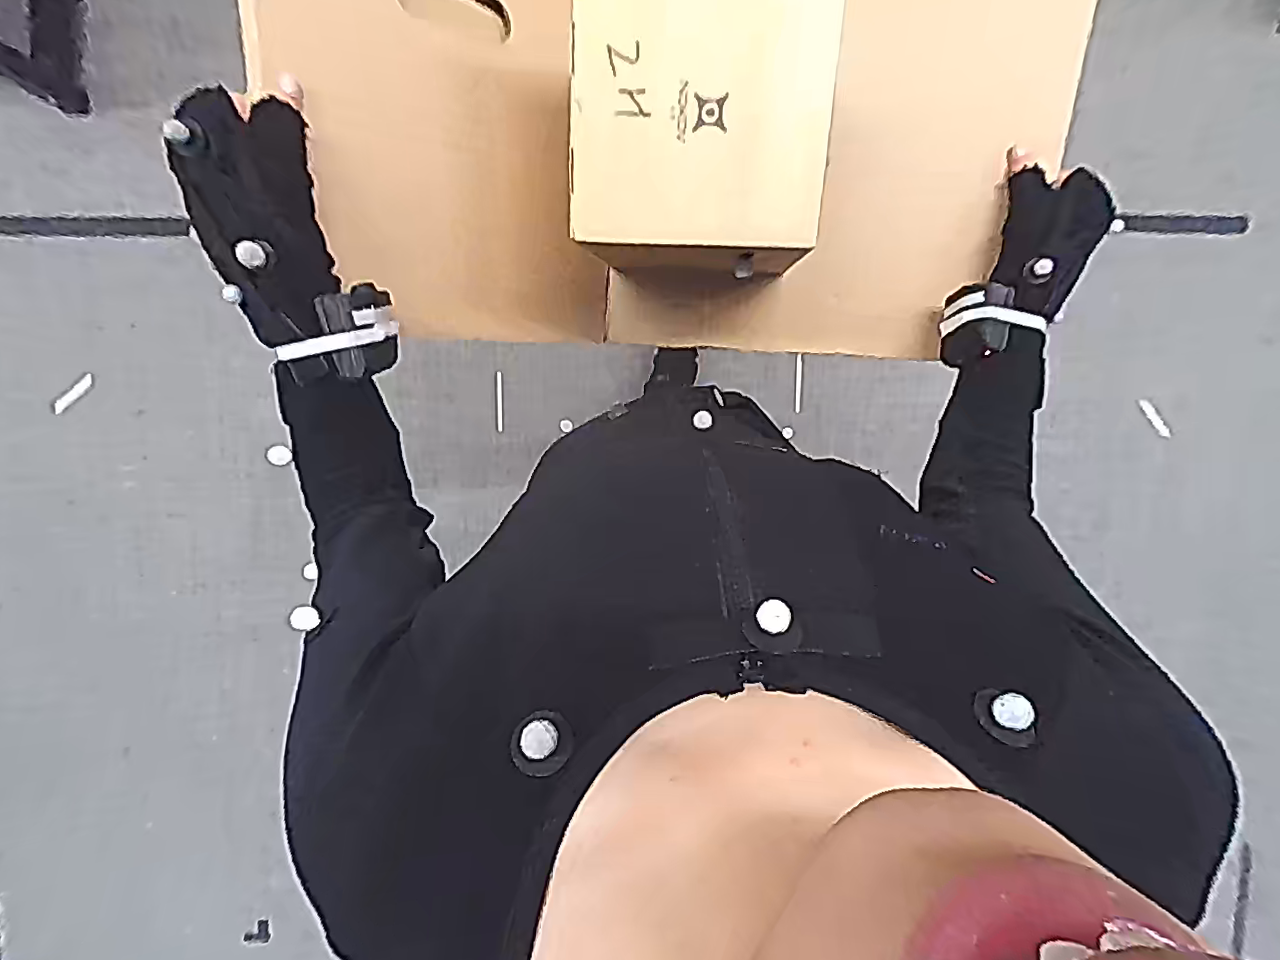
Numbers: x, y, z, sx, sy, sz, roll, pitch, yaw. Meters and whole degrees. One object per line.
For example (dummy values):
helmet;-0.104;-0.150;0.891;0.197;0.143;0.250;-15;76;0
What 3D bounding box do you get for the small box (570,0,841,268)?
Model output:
small box;0.048;-0.274;0.446;0.179;0.176;0.168;5;105;6
